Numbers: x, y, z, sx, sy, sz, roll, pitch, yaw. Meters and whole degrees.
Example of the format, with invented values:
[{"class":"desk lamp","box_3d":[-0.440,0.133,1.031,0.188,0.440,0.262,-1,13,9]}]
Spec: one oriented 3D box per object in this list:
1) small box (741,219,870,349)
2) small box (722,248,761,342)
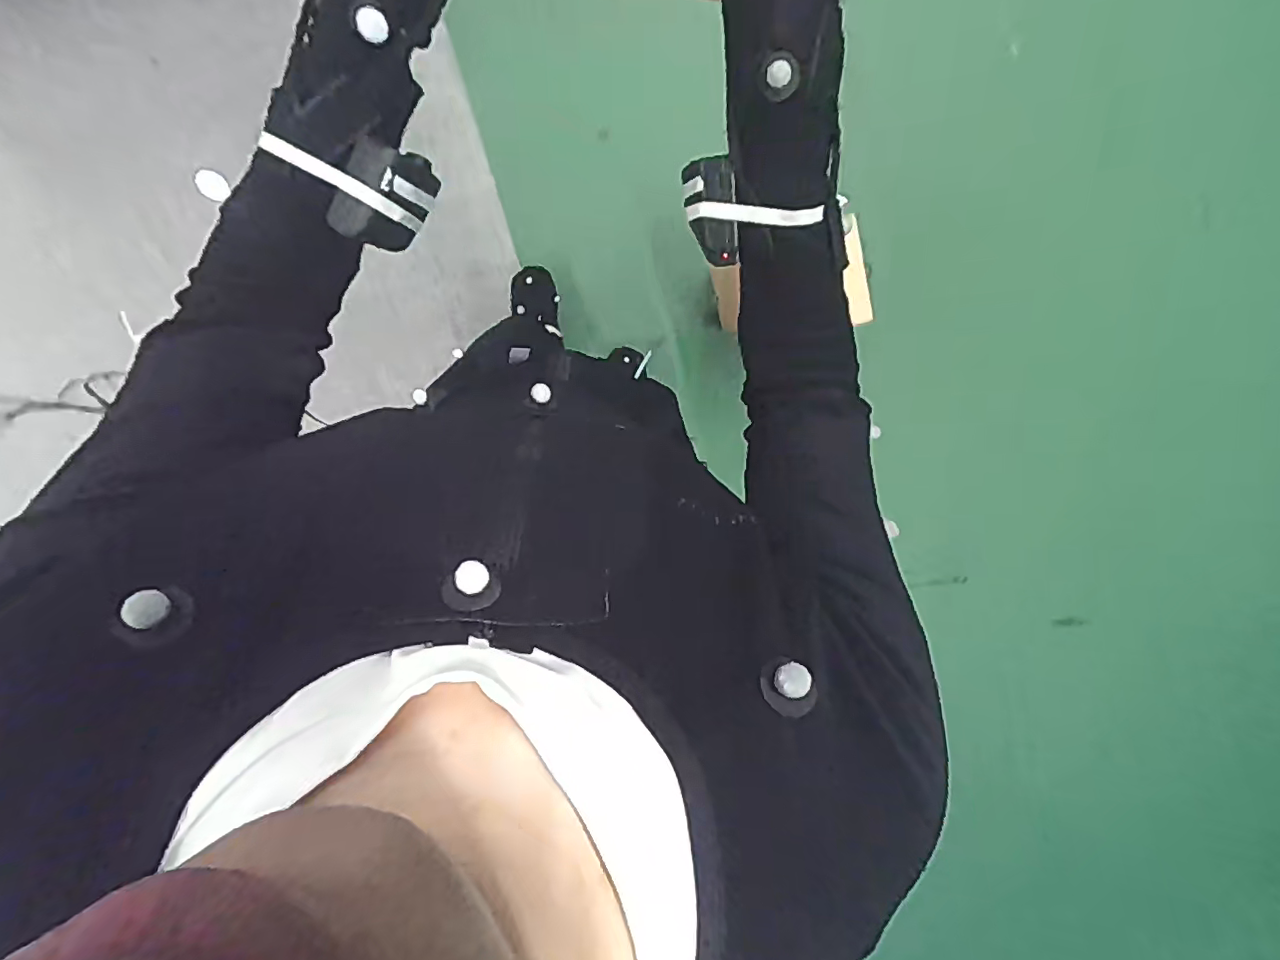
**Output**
[{"class":"small box","box_3d":[0.295,-0.350,0.988,0.168,0.176,0.179,-16,105,3]},{"class":"small box","box_3d":[0.280,-0.399,1.145,0.168,0.176,0.179,-15,106,3]}]
